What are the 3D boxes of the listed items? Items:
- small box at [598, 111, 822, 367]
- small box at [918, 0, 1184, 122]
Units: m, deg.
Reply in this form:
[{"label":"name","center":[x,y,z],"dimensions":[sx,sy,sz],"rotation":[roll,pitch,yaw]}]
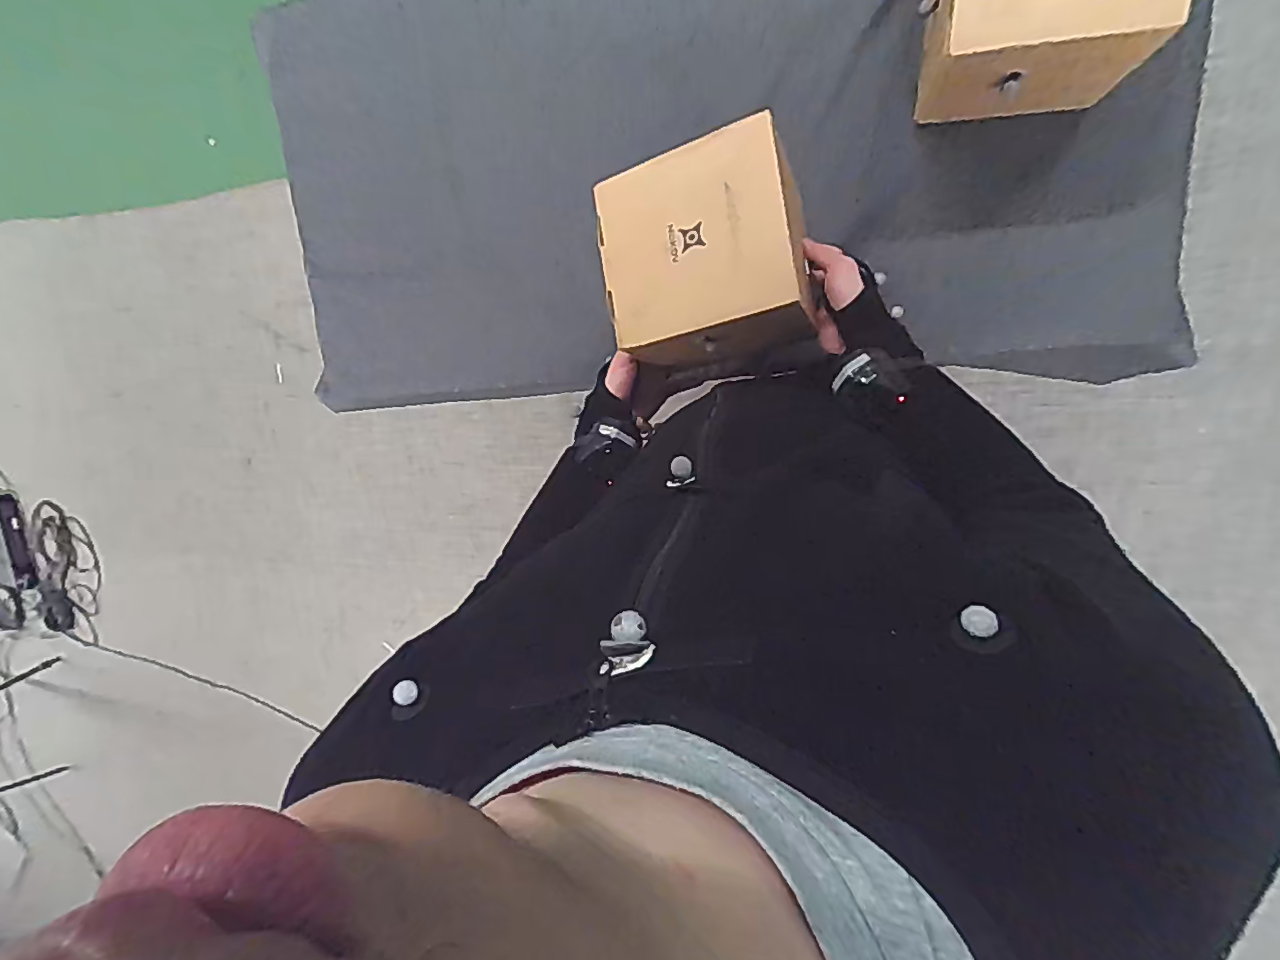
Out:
[{"label":"small box","center":[0.080,-0.223,0.561],"dimensions":[0.179,0.176,0.168],"rotation":[-10,90,23]},{"label":"small box","center":[0.378,-0.466,0.514],"dimensions":[0.179,0.176,0.168],"rotation":[6,106,17]}]
